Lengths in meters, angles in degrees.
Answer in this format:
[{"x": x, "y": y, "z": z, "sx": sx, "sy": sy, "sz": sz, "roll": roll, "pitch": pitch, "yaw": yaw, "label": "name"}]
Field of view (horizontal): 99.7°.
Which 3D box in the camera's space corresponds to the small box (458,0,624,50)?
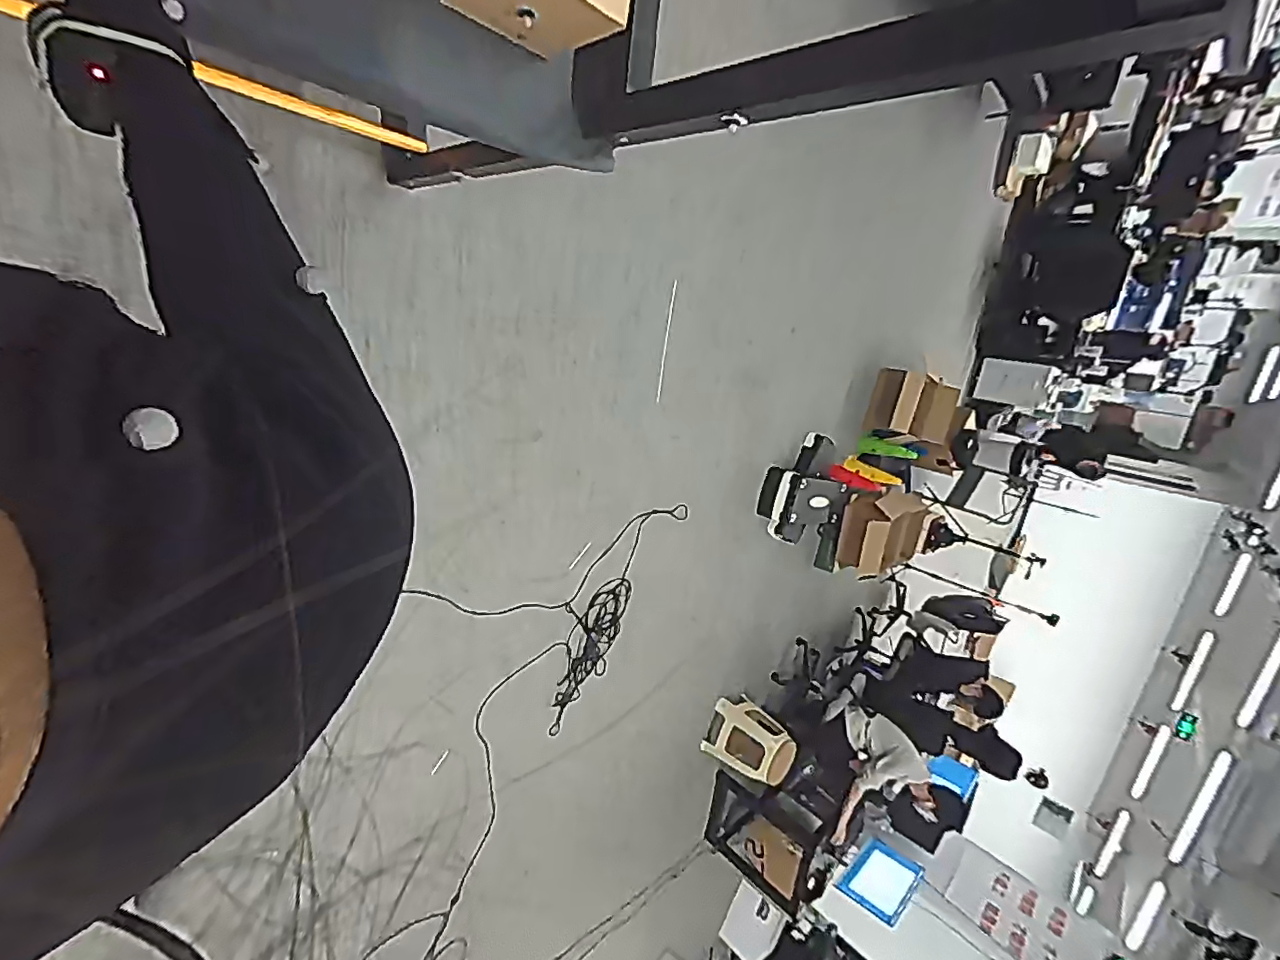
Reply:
[{"x": -0.126, "y": -0.656, "z": 0.639, "sx": 0.168, "sy": 0.176, "sz": 0.179, "roll": -8, "pitch": 112, "yaw": -46, "label": "small box"}]
